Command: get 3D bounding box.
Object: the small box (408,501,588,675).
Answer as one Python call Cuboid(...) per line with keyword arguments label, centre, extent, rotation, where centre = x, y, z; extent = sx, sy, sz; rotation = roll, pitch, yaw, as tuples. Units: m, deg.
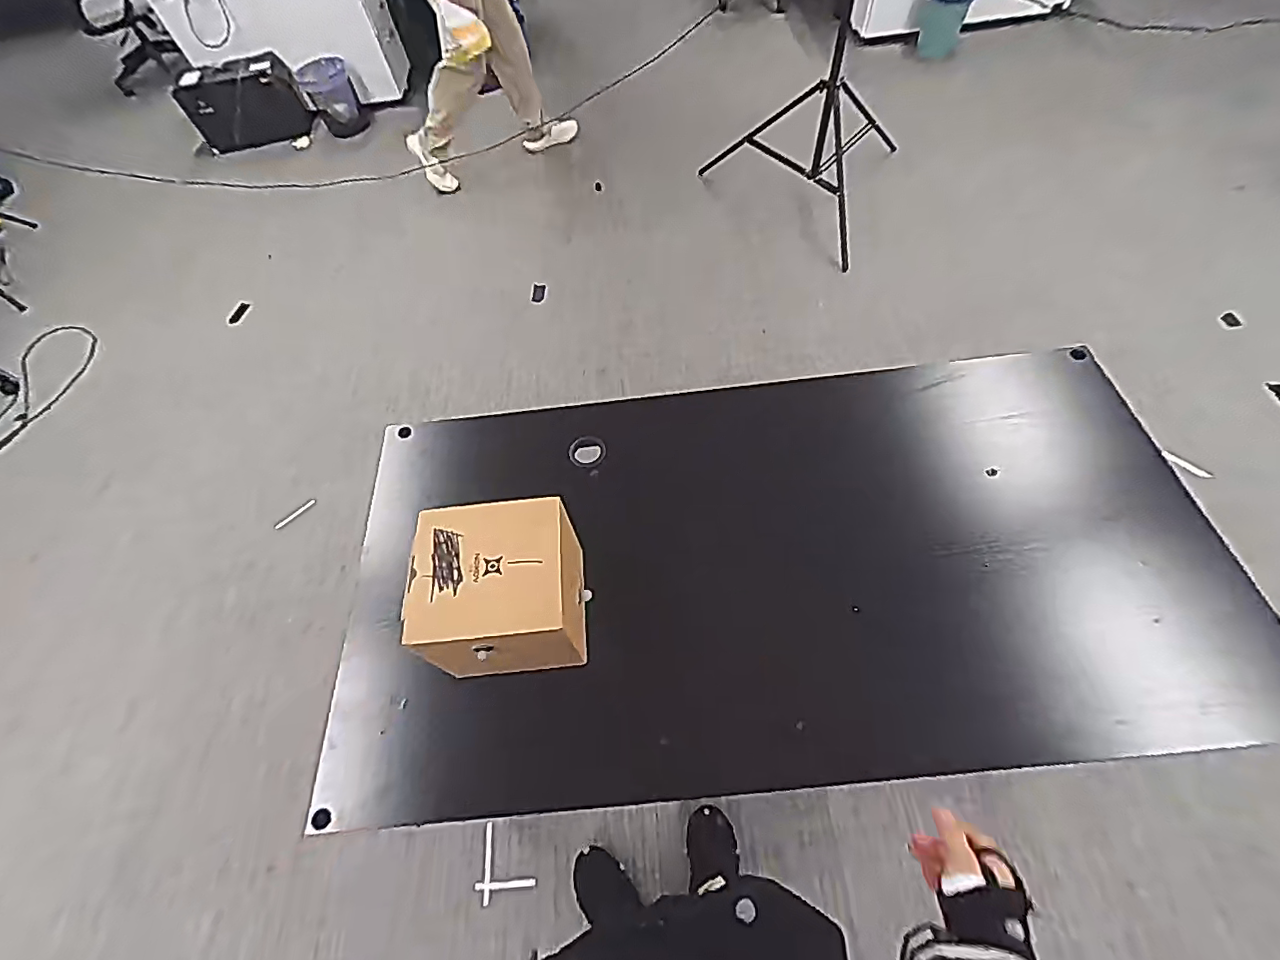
Cuboid(label="small box", centre=(-0.168, 0.145, 0.697), extent=(0.179, 0.176, 0.168), rotation=(-6, 59, 1))
